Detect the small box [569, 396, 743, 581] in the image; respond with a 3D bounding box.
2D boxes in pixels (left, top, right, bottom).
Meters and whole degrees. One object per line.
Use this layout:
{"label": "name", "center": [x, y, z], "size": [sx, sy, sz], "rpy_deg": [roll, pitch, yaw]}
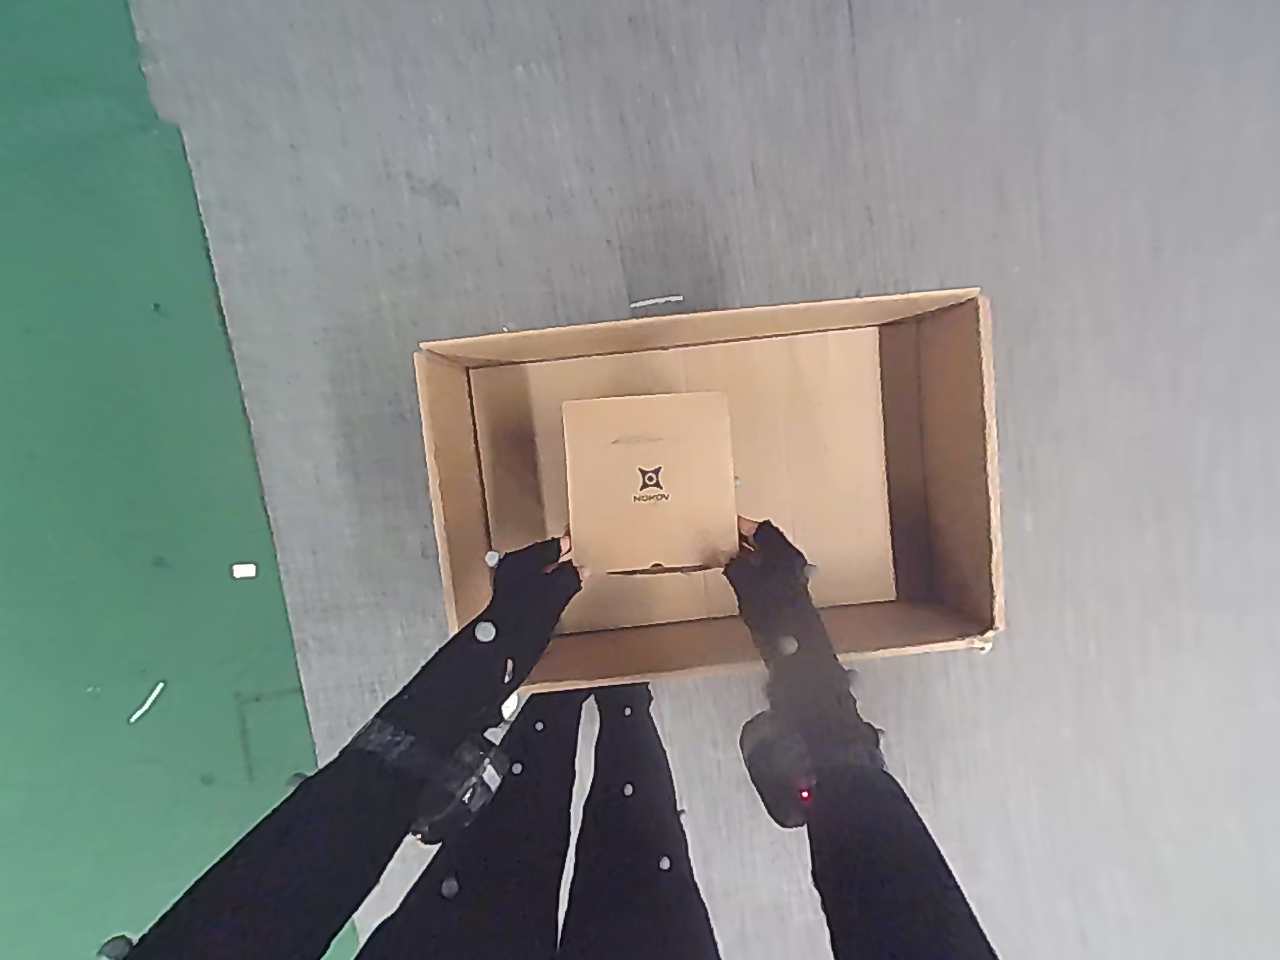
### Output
{"label": "small box", "center": [0.015, 0.010, 0.613], "size": [0.168, 0.176, 0.179], "rpy_deg": [-5, 88, -2]}
